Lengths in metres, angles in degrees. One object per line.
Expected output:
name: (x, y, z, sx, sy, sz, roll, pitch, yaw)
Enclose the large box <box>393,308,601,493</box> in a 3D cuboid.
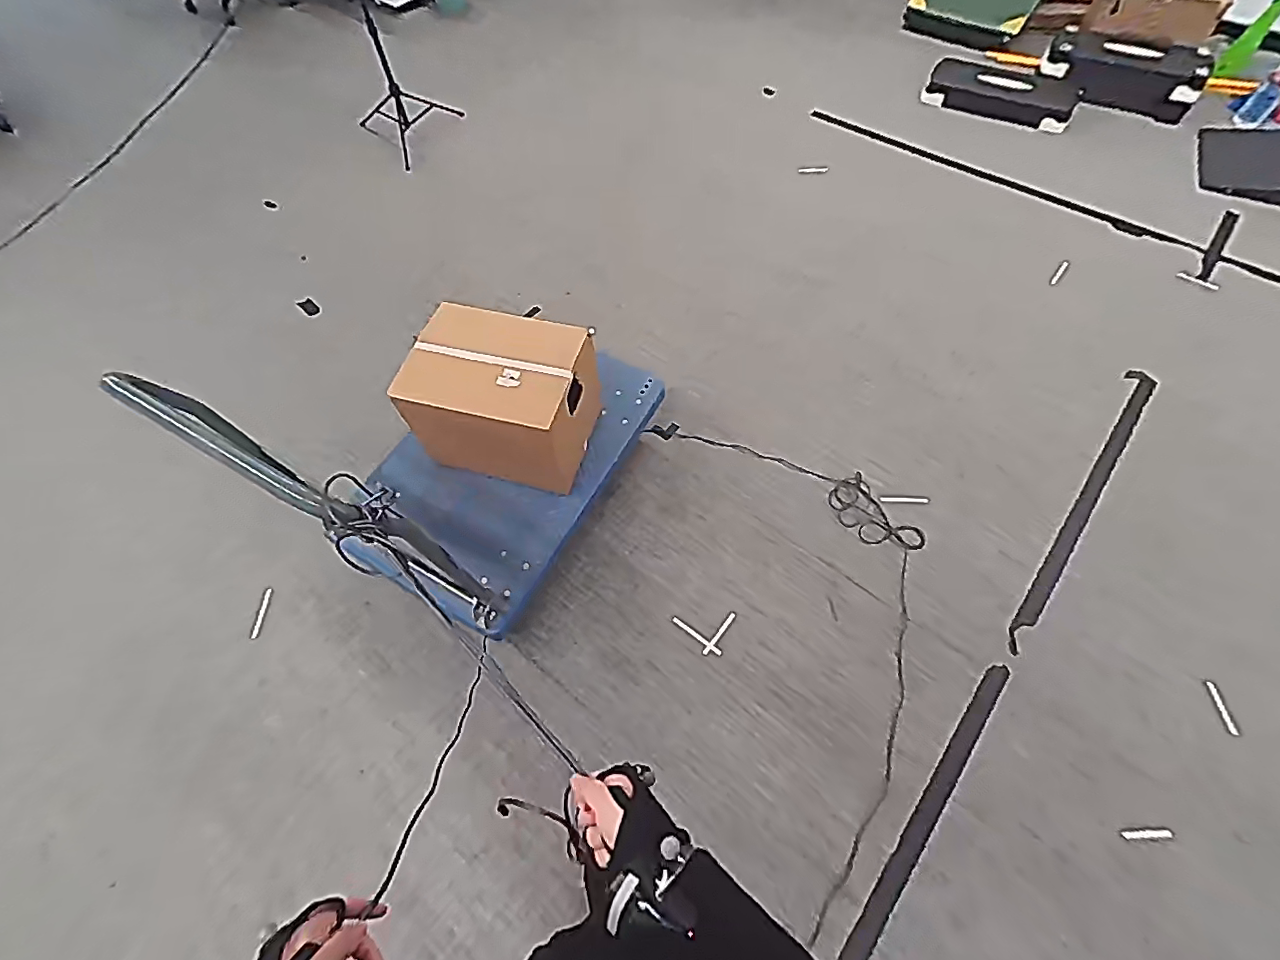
large box: (-0.343, -0.201, 1.417, 0.408, 0.320, 0.320, 13, 62, 8)
